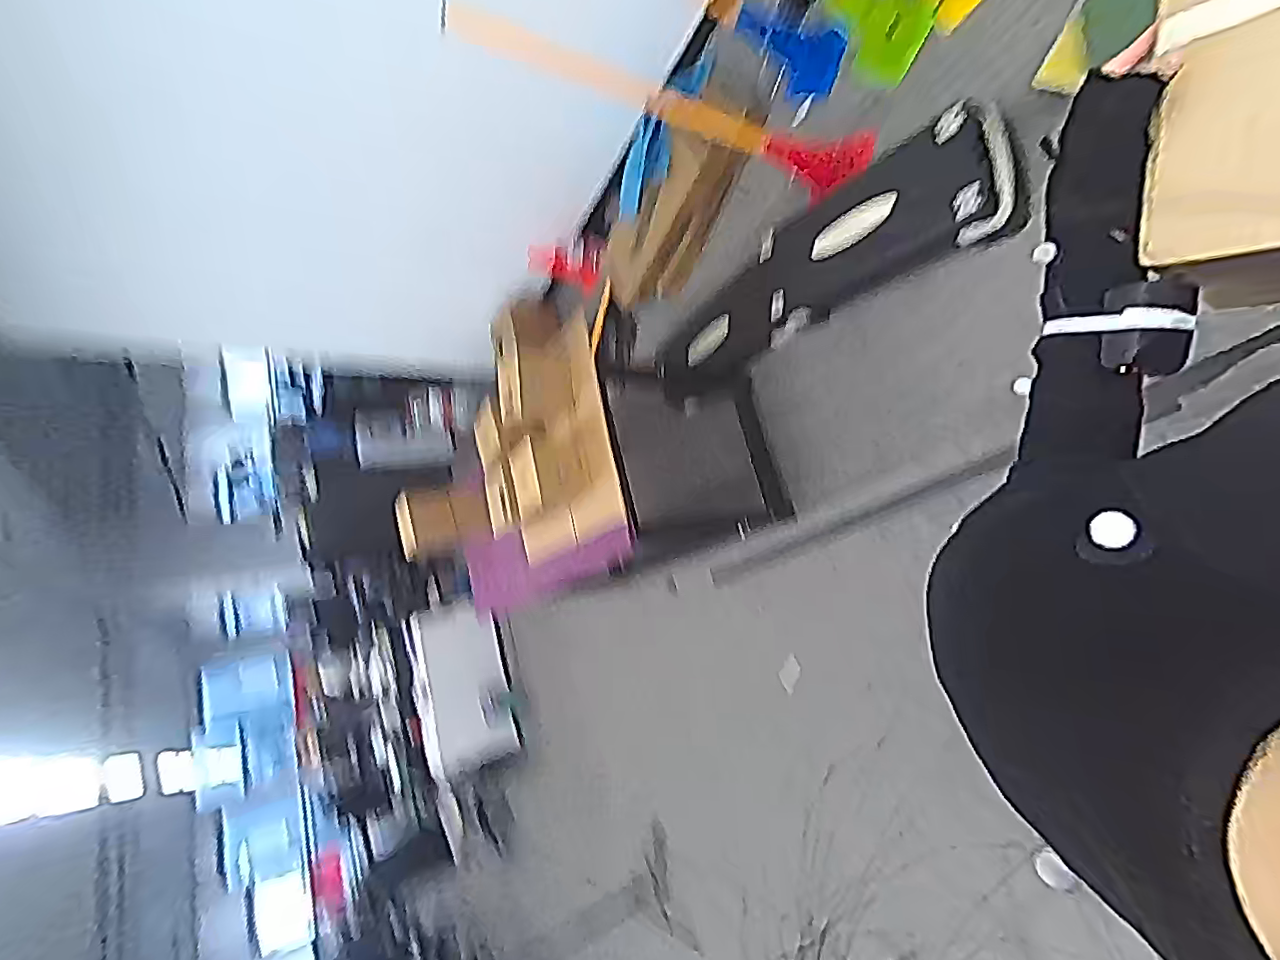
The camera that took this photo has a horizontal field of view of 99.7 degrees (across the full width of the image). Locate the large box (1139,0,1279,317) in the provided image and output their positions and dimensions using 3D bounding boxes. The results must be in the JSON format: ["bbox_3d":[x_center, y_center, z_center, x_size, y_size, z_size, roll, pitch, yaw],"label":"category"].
[{"bbox_3d":[0.615,-0.297,0.328,0.408,0.320,0.320,10,104,52],"label":"large box"}]
